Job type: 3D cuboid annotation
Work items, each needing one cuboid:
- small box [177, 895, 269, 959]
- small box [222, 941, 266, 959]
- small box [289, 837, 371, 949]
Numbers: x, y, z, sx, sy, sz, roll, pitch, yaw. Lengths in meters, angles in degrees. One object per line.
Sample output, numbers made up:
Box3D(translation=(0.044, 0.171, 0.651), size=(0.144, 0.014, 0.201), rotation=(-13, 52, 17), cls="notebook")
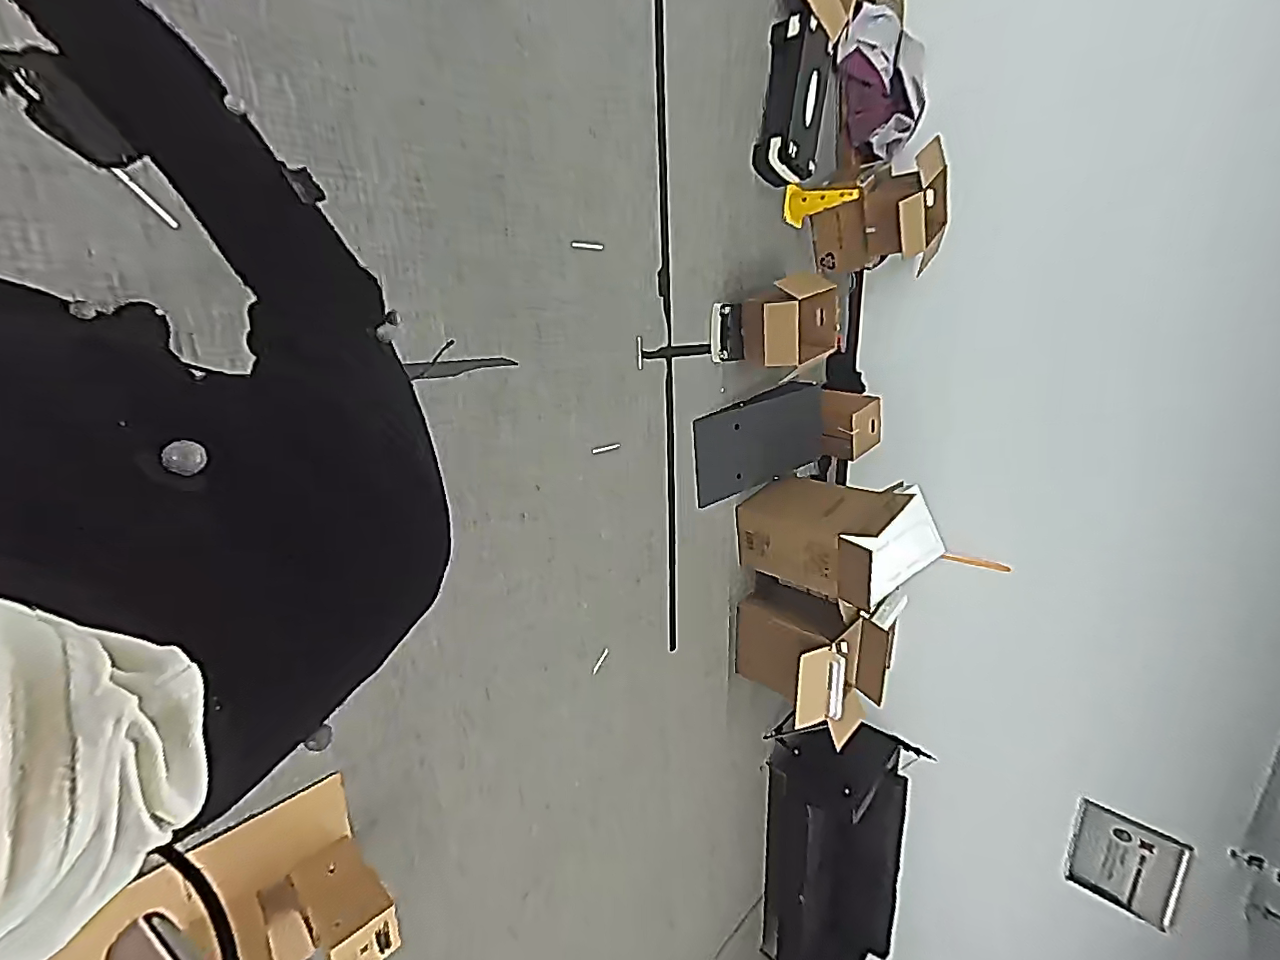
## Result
Box3D(translation=(-1.150, 1.316, 1.492), size=(0.179, 0.176, 0.168), rotation=(-15, 111, -45), cls="small box")
Box3D(translation=(-1.037, 1.350, 1.376), size=(0.168, 0.176, 0.179), rotation=(-14, 110, -45), cls="small box")
Box3D(translation=(-0.966, 1.271, 1.678), size=(0.179, 0.176, 0.168), rotation=(-17, 113, -45), cls="small box")
